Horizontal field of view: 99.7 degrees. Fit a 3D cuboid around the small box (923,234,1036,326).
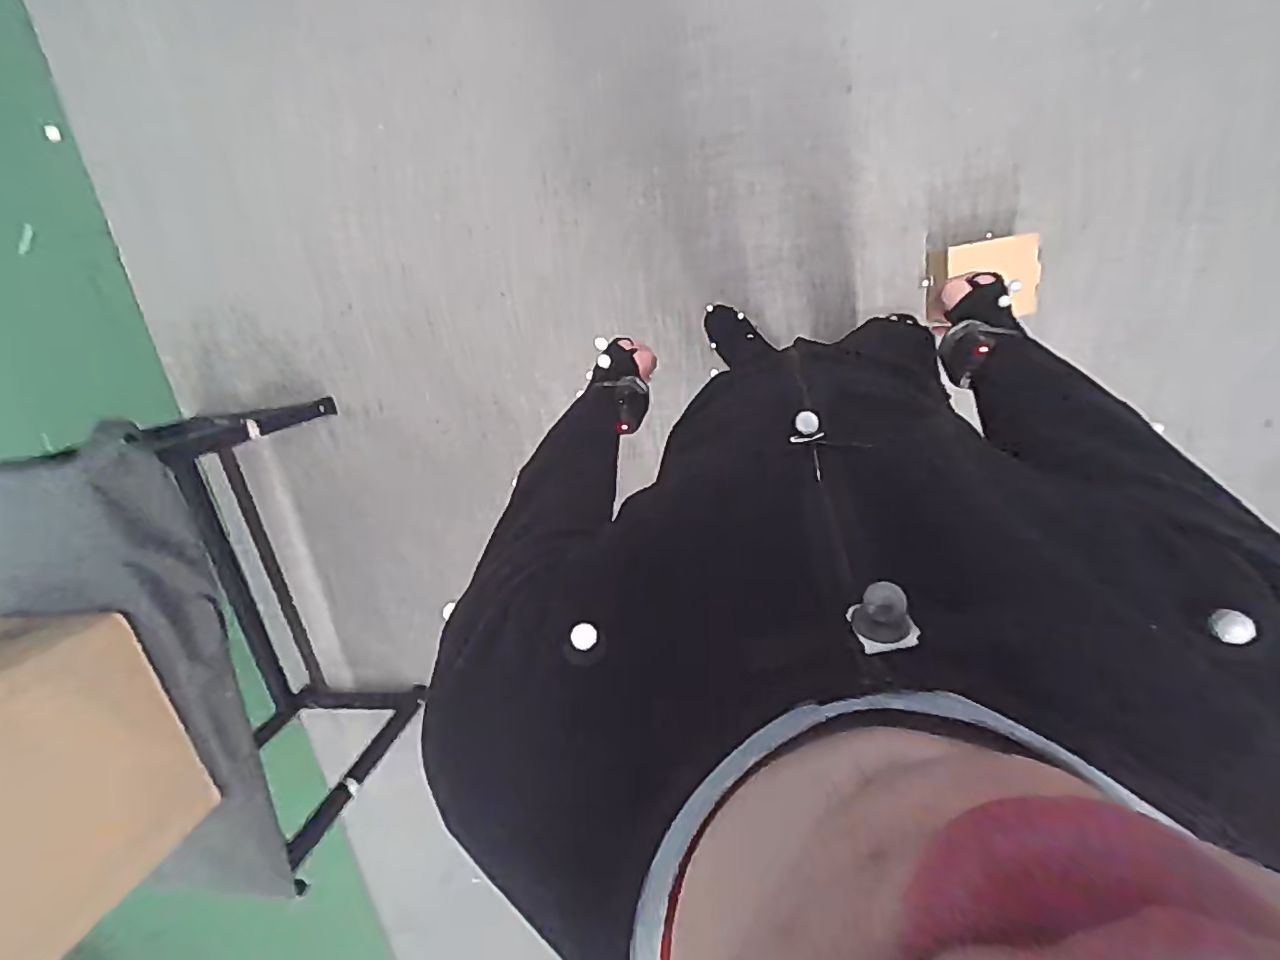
[{"bbox_3d":[0.767,-0.454,1.237,0.179,0.176,0.168,-6,107,15],"label":"small box"}]
